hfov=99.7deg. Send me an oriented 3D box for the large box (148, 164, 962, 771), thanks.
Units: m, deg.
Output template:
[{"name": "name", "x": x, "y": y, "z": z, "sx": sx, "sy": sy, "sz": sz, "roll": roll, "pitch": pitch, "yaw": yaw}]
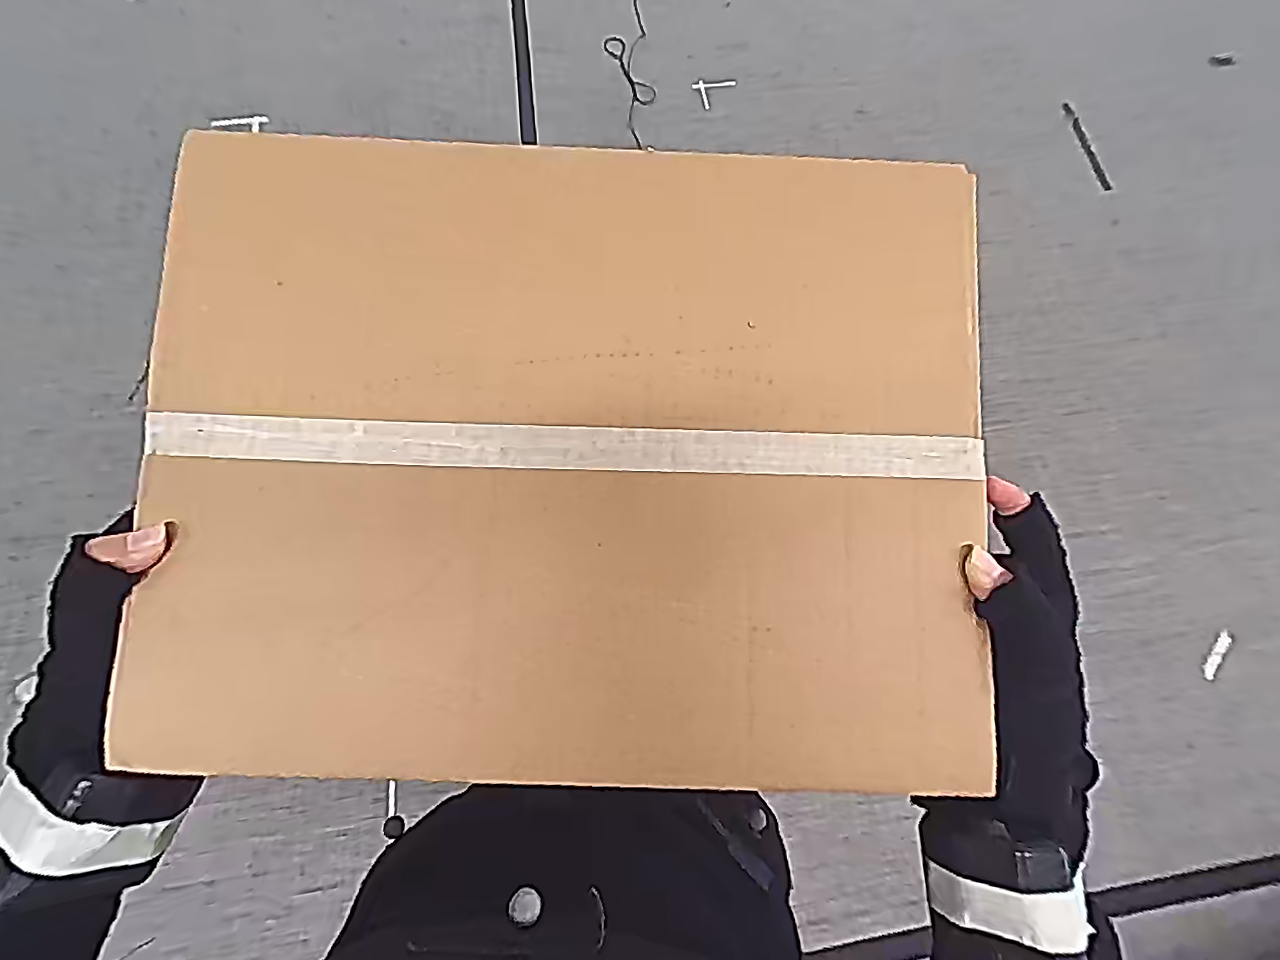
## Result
[{"name": "large box", "x": -0.037, "y": 0.000, "z": 0.424, "sx": 0.408, "sy": 0.320, "sz": 0.320, "roll": 2, "pitch": 83, "yaw": -1}]
